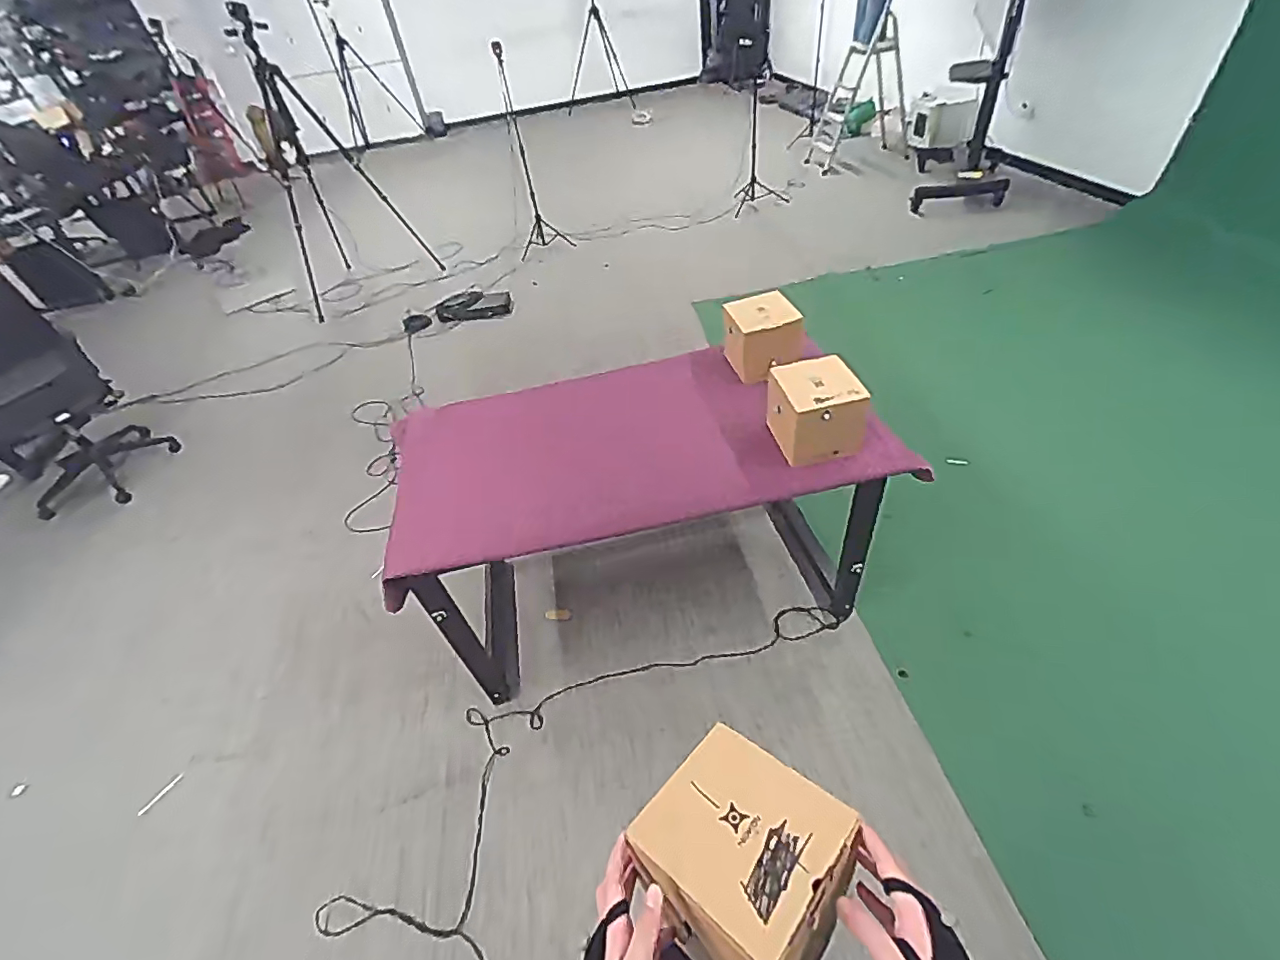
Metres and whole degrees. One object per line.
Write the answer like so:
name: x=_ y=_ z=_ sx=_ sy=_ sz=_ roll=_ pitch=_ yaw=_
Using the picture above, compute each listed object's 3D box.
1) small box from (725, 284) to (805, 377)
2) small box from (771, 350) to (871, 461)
small box: x=0.344 y=-0.414 z=1.507 sx=0.168 sy=0.176 sz=0.179 roll=-16 pitch=46 yaw=-1
small box: x=0.407 y=-0.172 z=1.255 sx=0.168 sy=0.176 sz=0.179 roll=-13 pitch=45 yaw=0
